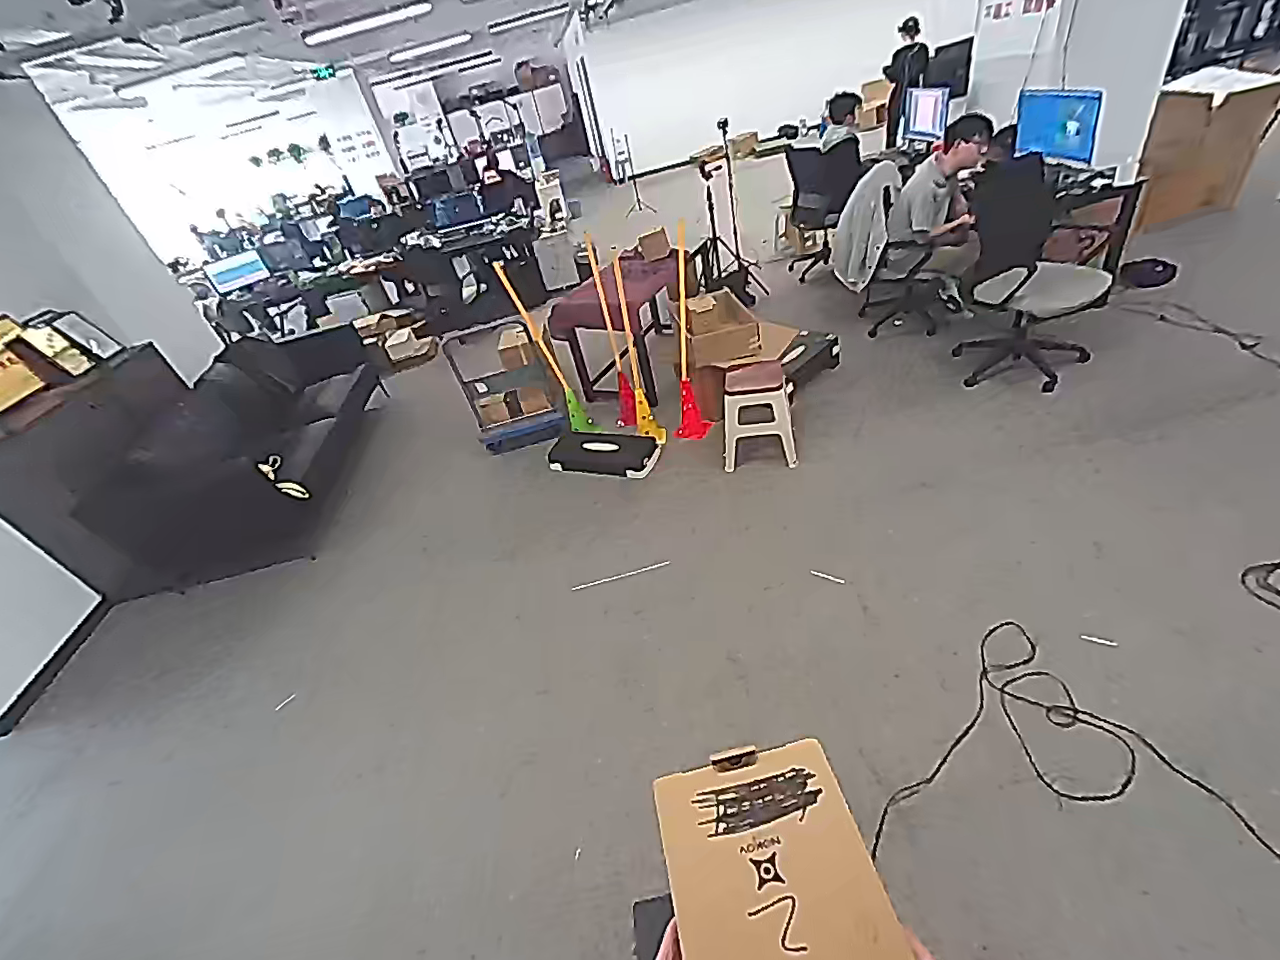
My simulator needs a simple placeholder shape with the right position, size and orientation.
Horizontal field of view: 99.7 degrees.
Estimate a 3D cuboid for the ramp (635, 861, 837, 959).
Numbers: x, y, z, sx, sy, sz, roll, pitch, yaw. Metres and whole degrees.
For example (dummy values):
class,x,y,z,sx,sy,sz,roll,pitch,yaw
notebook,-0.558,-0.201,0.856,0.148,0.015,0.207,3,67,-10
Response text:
class,x,y,z,sx,sy,sz,roll,pitch,yaw
ramp,0.270,1.336,1.060,0.509,0.206,0.991,-17,36,0
